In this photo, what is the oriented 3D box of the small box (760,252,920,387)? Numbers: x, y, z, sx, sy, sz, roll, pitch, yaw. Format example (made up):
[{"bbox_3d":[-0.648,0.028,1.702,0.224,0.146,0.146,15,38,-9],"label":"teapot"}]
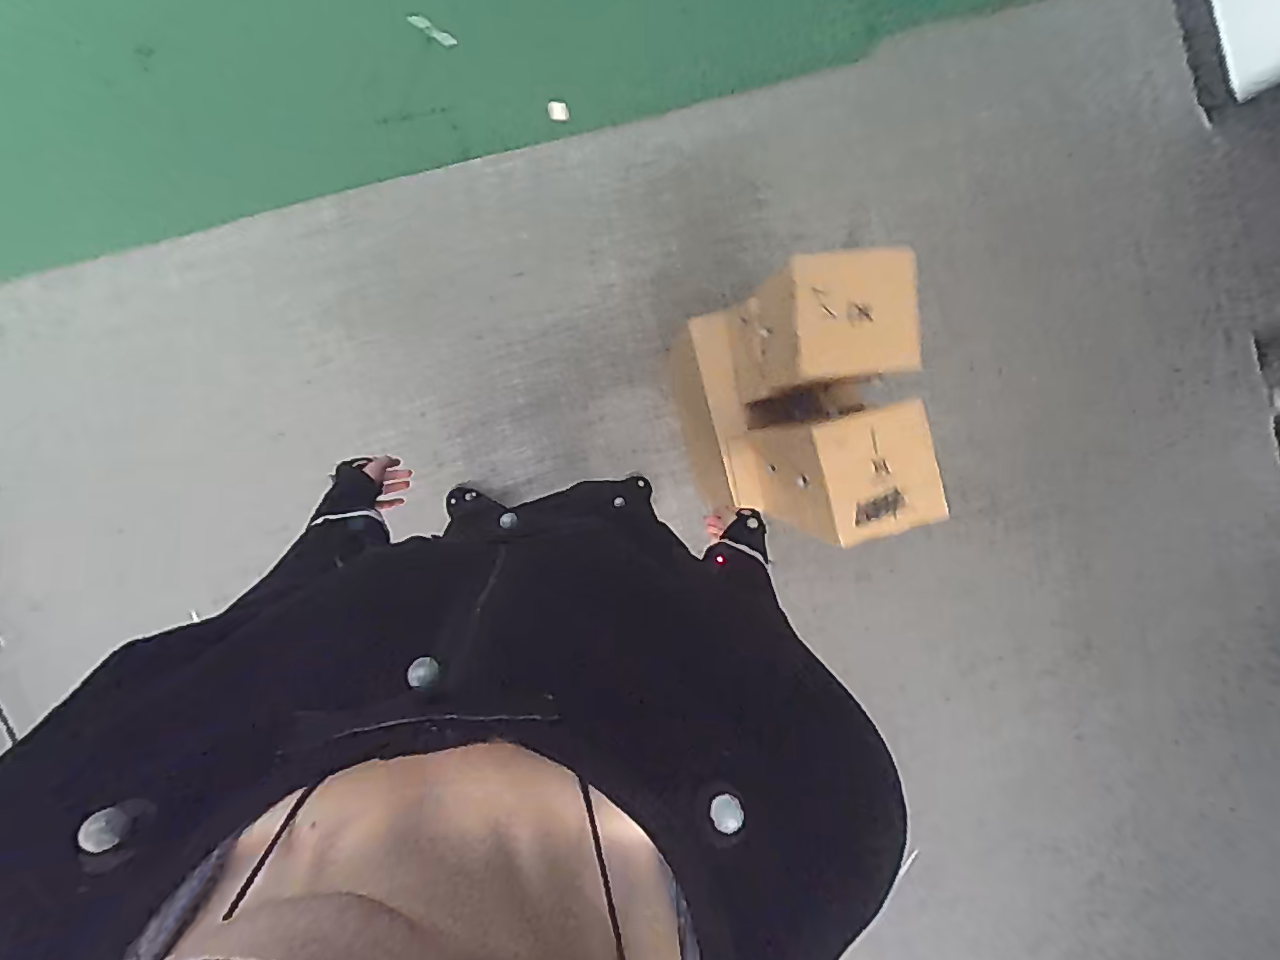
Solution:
[{"bbox_3d":[0.295,-0.235,0.823,0.179,0.176,0.168,-4,94,-4],"label":"small box"}]
